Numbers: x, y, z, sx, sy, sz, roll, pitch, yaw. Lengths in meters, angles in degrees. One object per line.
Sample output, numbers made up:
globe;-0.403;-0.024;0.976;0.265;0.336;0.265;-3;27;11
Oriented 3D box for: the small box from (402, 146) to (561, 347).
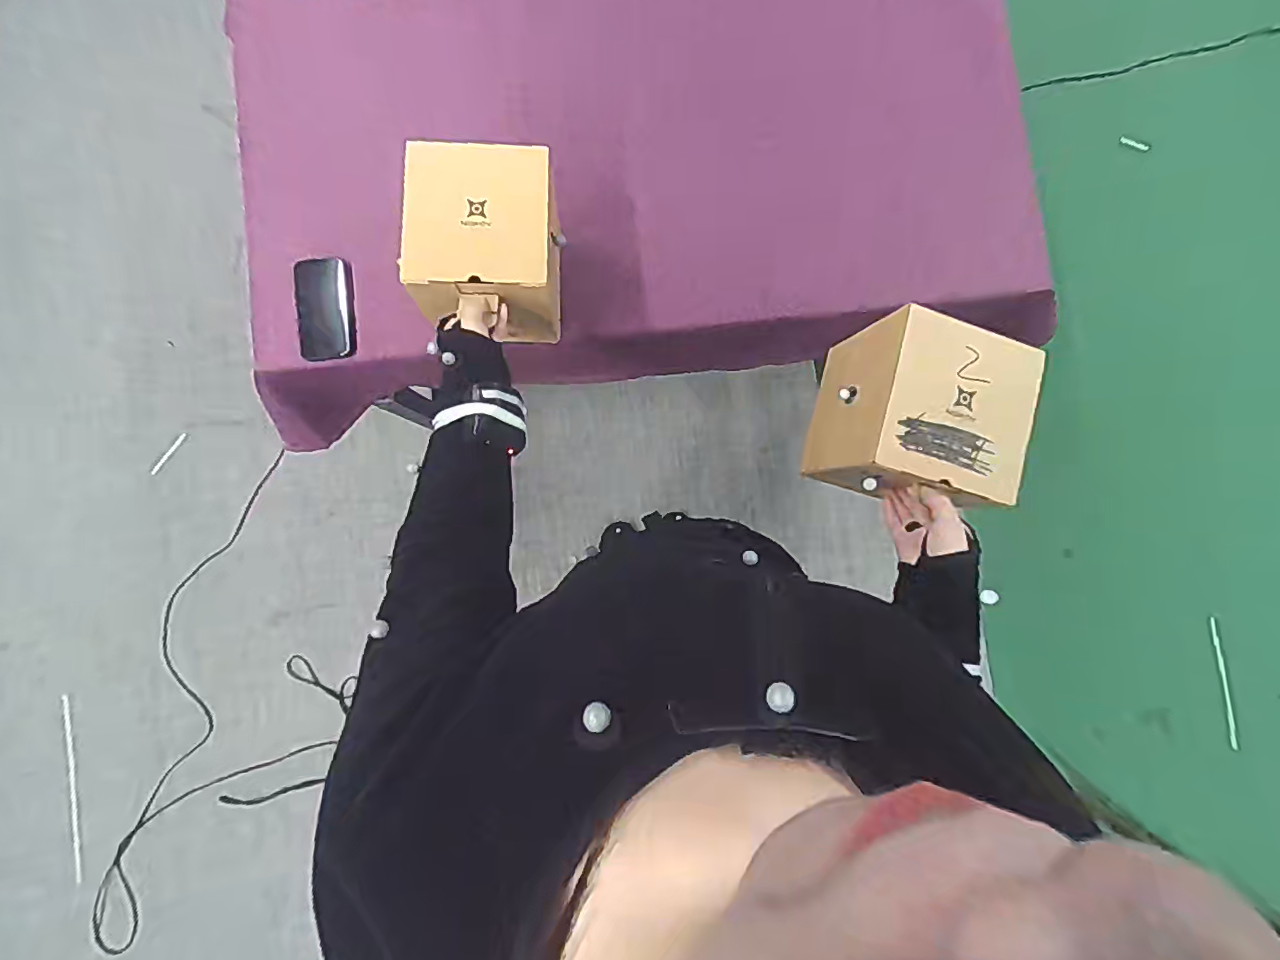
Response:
small box;-0.191;-0.288;0.698;0.168;0.176;0.179;0;83;-5
